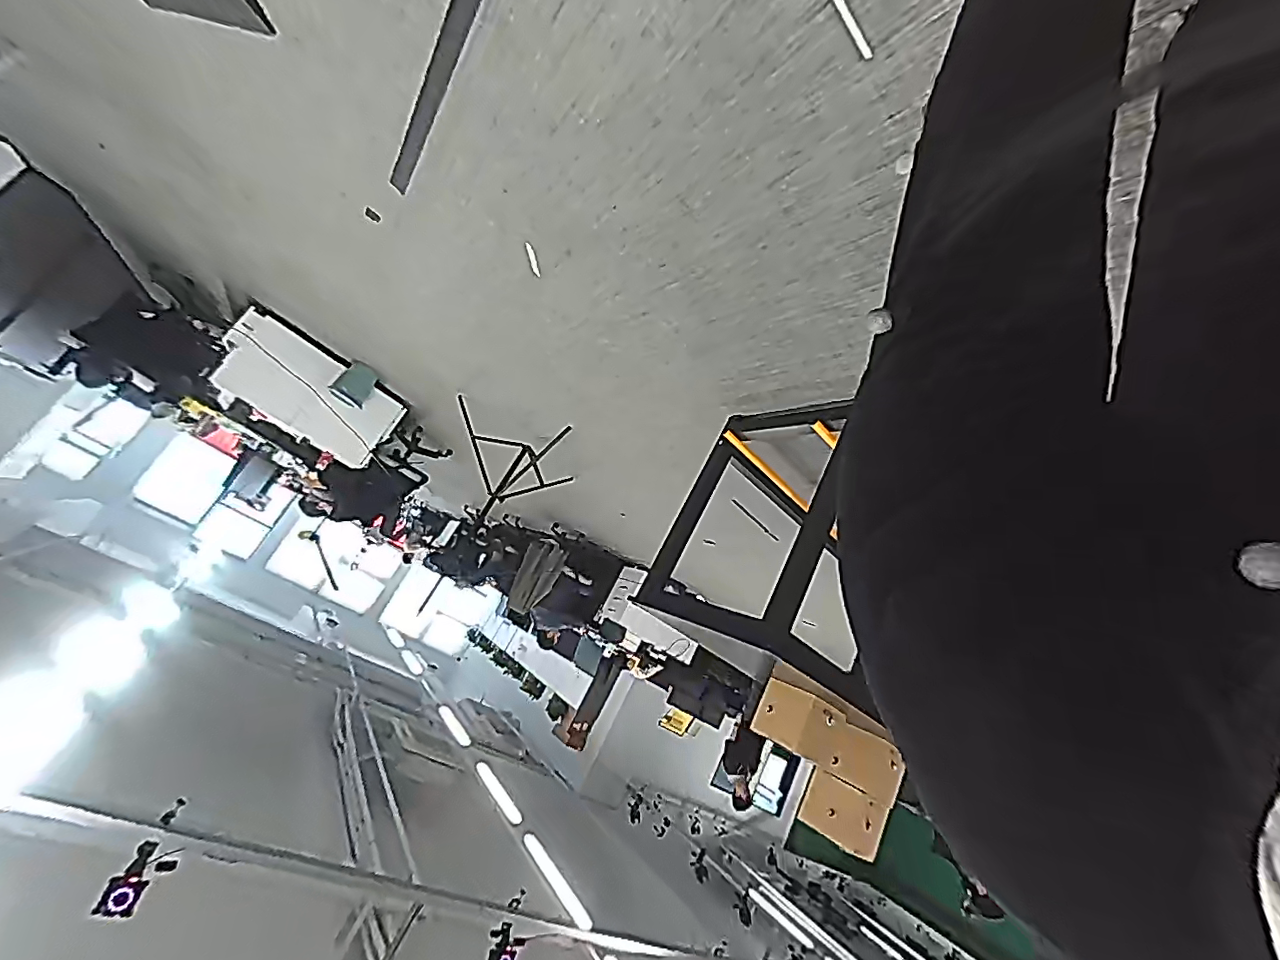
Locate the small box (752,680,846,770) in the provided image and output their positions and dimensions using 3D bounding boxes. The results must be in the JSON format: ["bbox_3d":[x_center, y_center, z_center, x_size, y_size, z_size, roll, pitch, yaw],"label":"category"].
[{"bbox_3d":[0.469,0.709,1.585,0.168,0.176,0.179,36,161,-27],"label":"small box"}]

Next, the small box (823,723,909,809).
[{"bbox_3d":[0.717,0.897,1.717,0.168,0.176,0.179,38,161,-28],"label":"small box"}]

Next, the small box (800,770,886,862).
[{"bbox_3d":[0.637,1.035,1.677,0.168,0.176,0.179,38,160,-25],"label":"small box"}]
